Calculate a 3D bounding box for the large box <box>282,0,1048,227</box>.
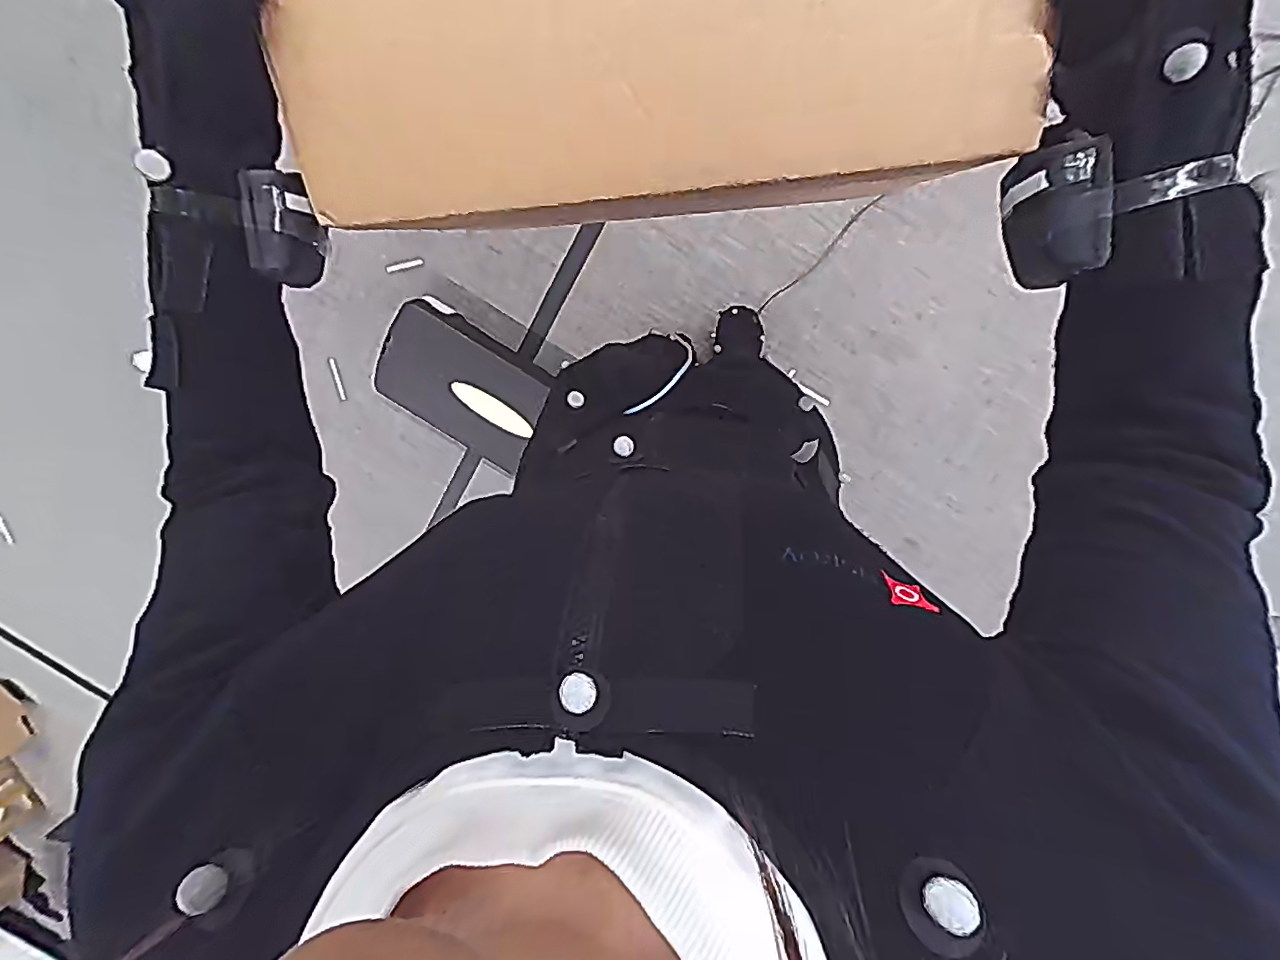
[{"bbox_3d":[0.010,-0.375,0.388,0.408,0.320,0.320,-2,115,9],"label":"large box"}]
